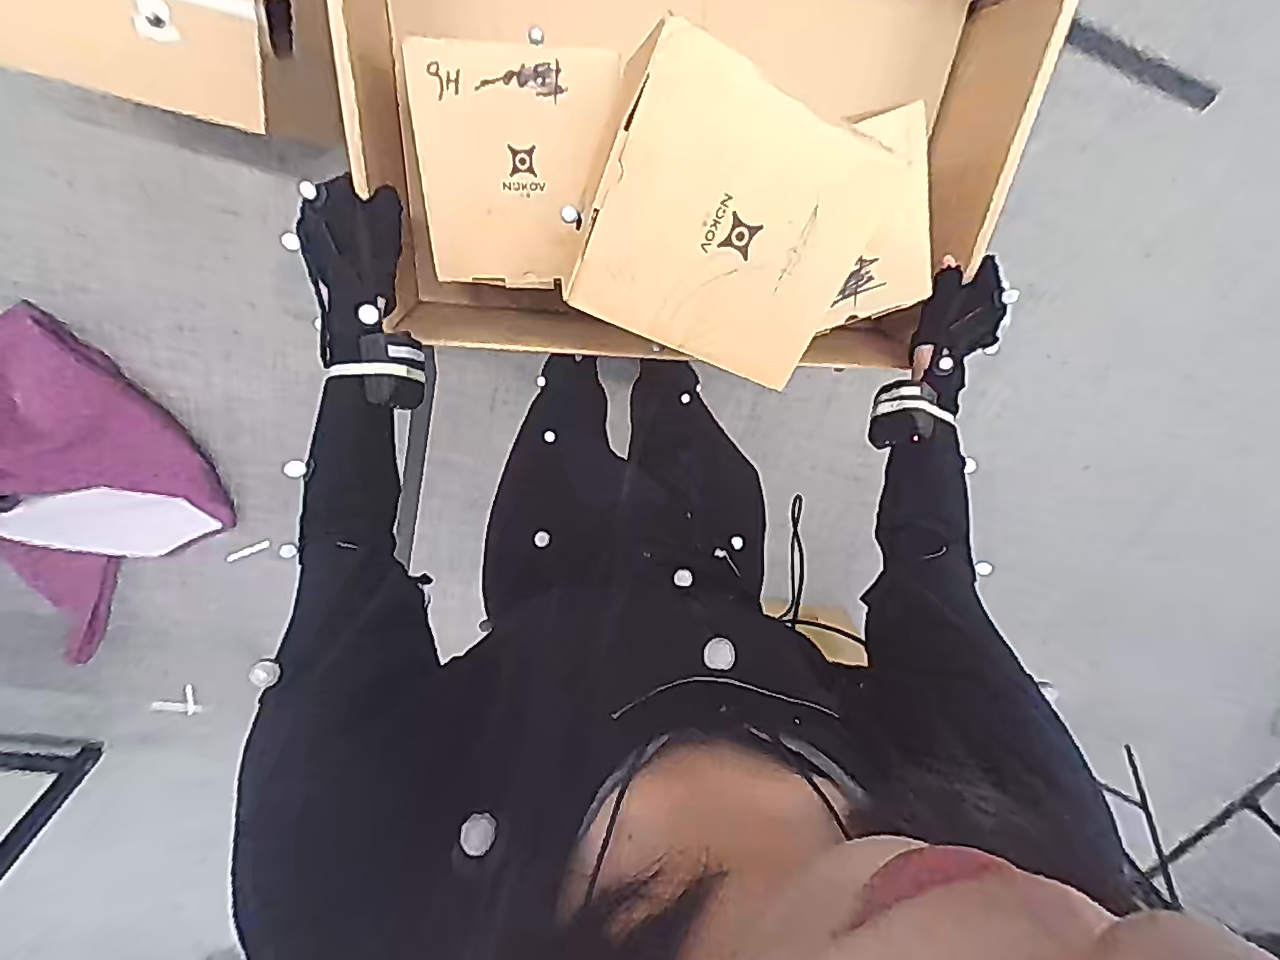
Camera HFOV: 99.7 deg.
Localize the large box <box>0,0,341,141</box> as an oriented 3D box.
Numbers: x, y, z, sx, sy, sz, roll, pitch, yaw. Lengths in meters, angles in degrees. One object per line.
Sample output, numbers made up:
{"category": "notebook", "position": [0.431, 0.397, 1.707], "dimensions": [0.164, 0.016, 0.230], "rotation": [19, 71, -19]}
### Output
{"category": "large box", "position": [-0.756, -0.784, 0.876], "dimensions": [0.408, 0.320, 0.320], "rotation": [9, 118, -12]}
